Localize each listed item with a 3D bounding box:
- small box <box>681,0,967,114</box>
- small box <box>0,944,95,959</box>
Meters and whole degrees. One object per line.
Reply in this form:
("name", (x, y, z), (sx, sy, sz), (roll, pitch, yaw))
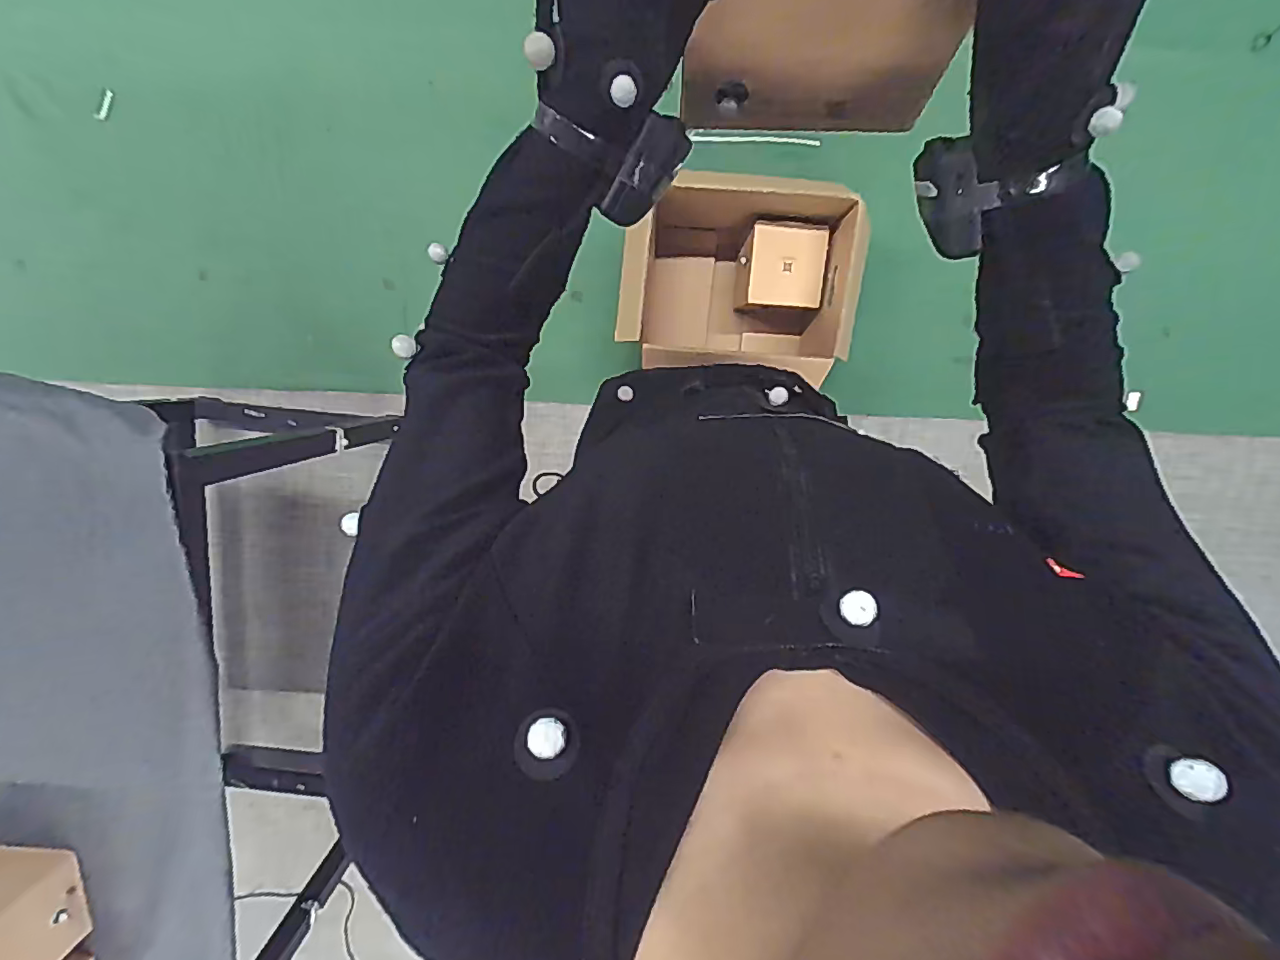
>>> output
("small box", (0.111, -0.352, 0.316), (0.168, 0.176, 0.179), (3, 81, 2))
("small box", (-1.046, 0.908, 0.878), (0.179, 0.176, 0.168), (5, 101, 2))
